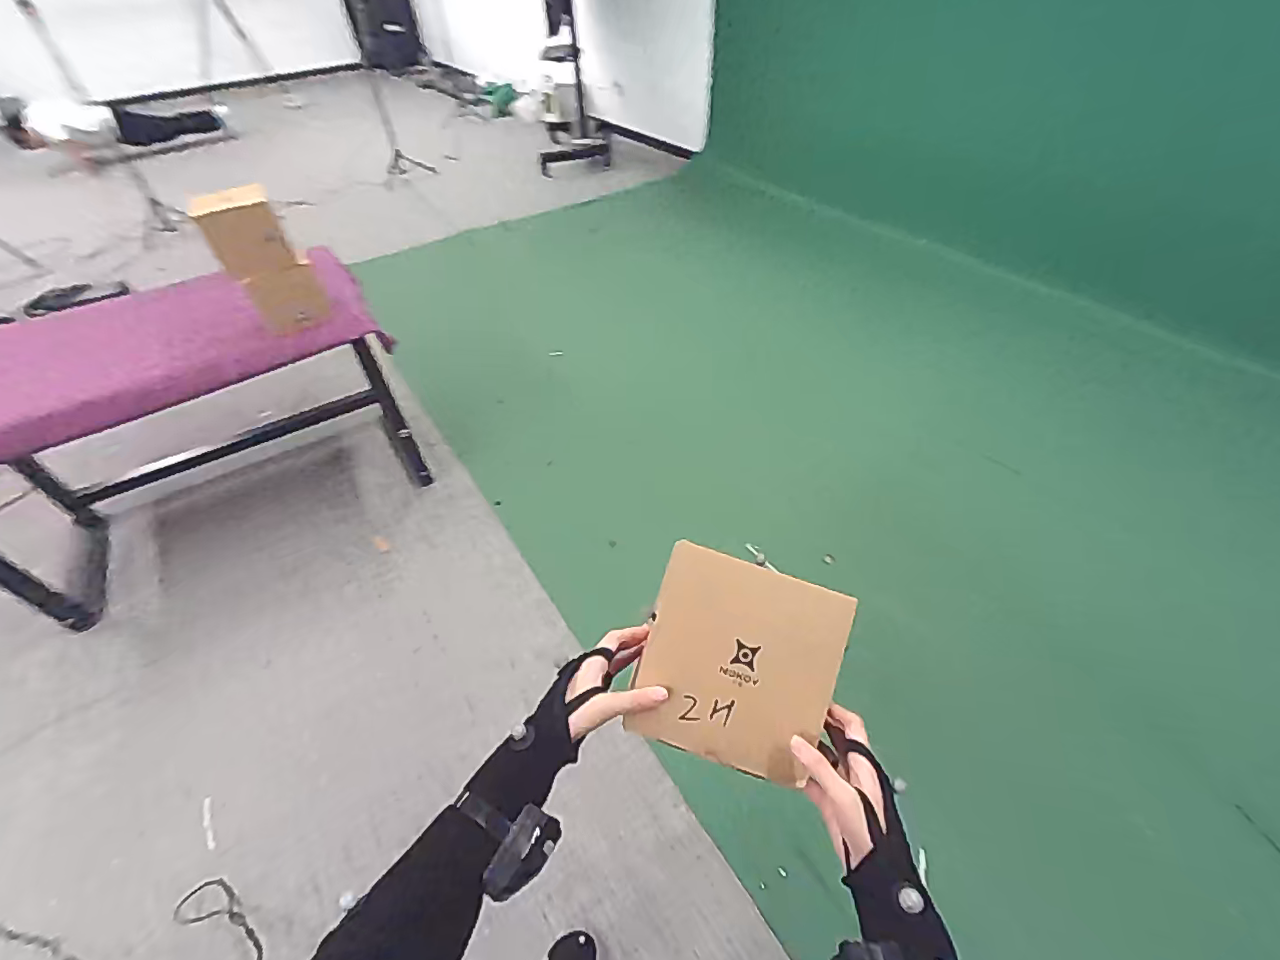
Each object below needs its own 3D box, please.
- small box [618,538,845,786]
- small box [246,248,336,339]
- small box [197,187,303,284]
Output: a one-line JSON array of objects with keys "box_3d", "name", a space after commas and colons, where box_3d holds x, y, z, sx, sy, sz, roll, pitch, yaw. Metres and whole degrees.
[{"box_3d": [0.083, 0.168, 0.557, 0.168, 0.176, 0.179, 18, 84, 3], "name": "small box"}, {"box_3d": [-1.000, -0.534, 1.548, 0.179, 0.176, 0.168, -30, 51, -22], "name": "small box"}, {"box_3d": [-1.023, -0.646, 1.431, 0.179, 0.176, 0.168, -26, 50, -18], "name": "small box"}]
